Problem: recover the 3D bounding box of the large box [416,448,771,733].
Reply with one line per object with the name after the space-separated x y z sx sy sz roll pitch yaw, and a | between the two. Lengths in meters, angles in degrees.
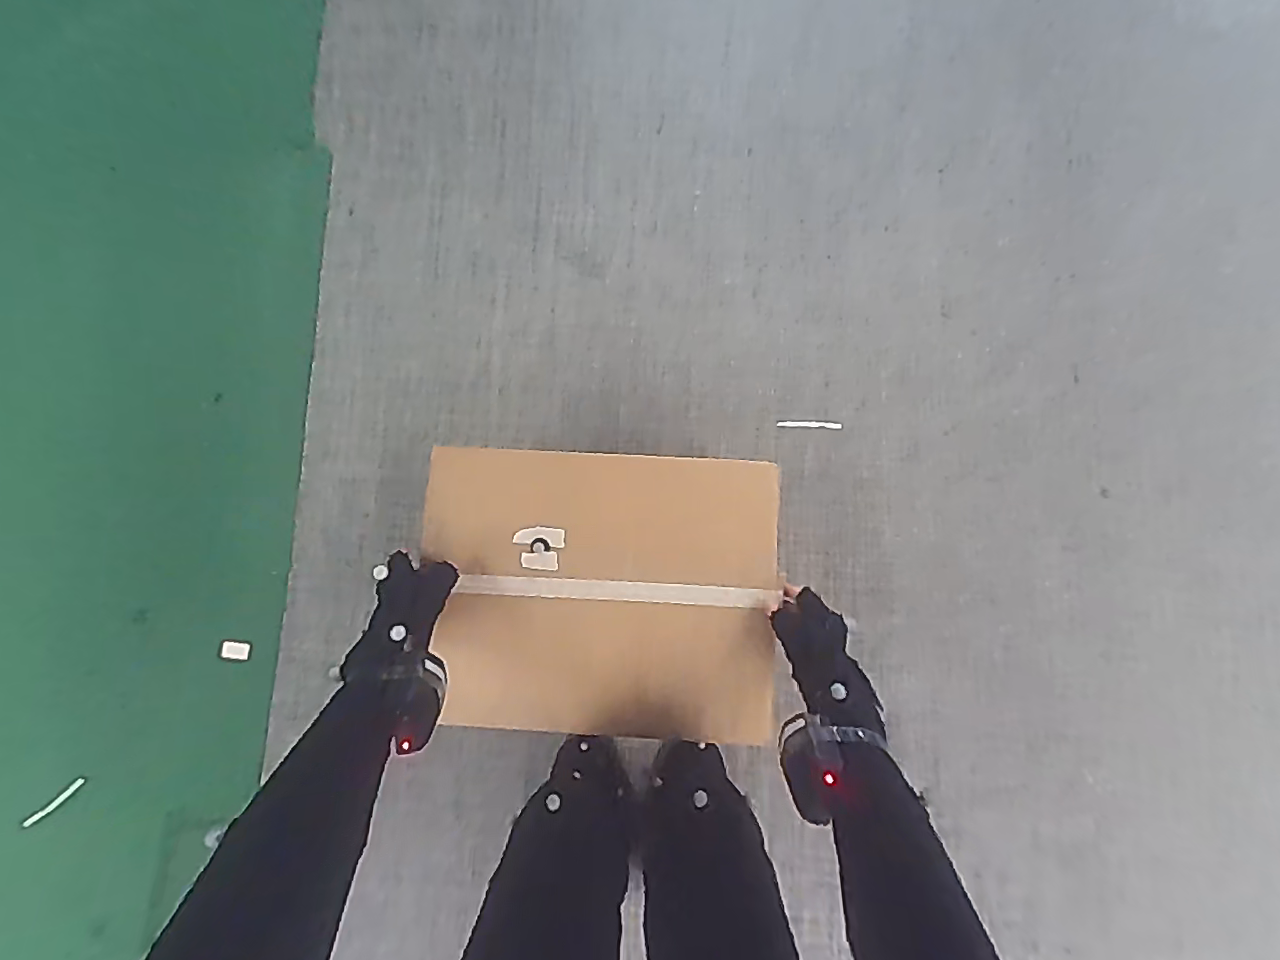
-0.044 0.135 0.768 0.408 0.320 0.320 3 83 2 | large box
